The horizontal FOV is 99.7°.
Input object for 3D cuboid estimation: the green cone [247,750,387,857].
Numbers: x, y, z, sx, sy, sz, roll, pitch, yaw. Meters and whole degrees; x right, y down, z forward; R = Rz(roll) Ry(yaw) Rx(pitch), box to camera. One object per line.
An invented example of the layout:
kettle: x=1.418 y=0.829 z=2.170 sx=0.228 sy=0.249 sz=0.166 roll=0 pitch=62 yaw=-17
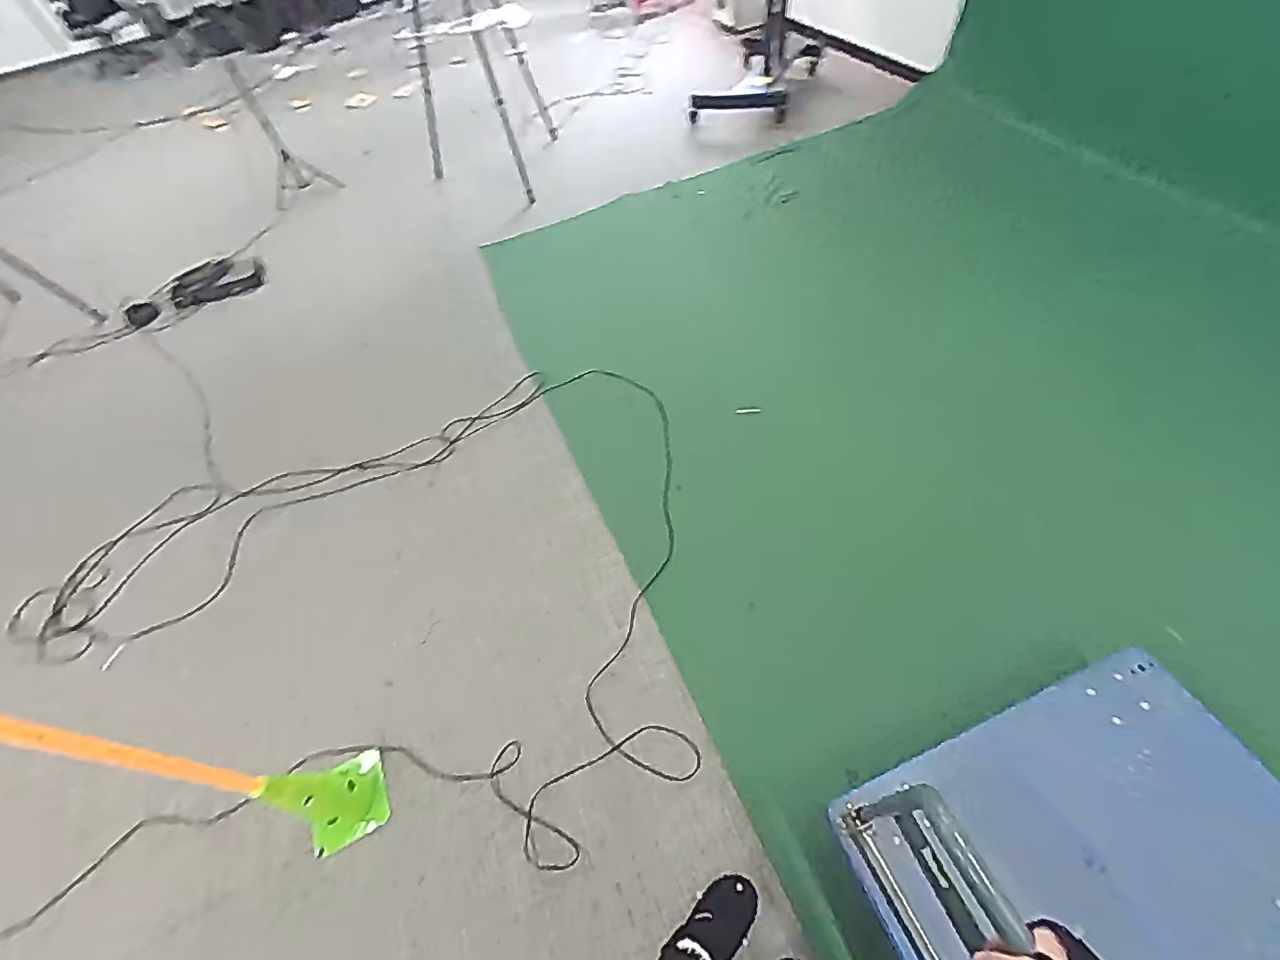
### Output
green cone: x=-0.811 y=0.765 z=1.322 sx=0.200 sy=0.368 sz=0.202 roll=-27 pitch=54 yaw=-10
